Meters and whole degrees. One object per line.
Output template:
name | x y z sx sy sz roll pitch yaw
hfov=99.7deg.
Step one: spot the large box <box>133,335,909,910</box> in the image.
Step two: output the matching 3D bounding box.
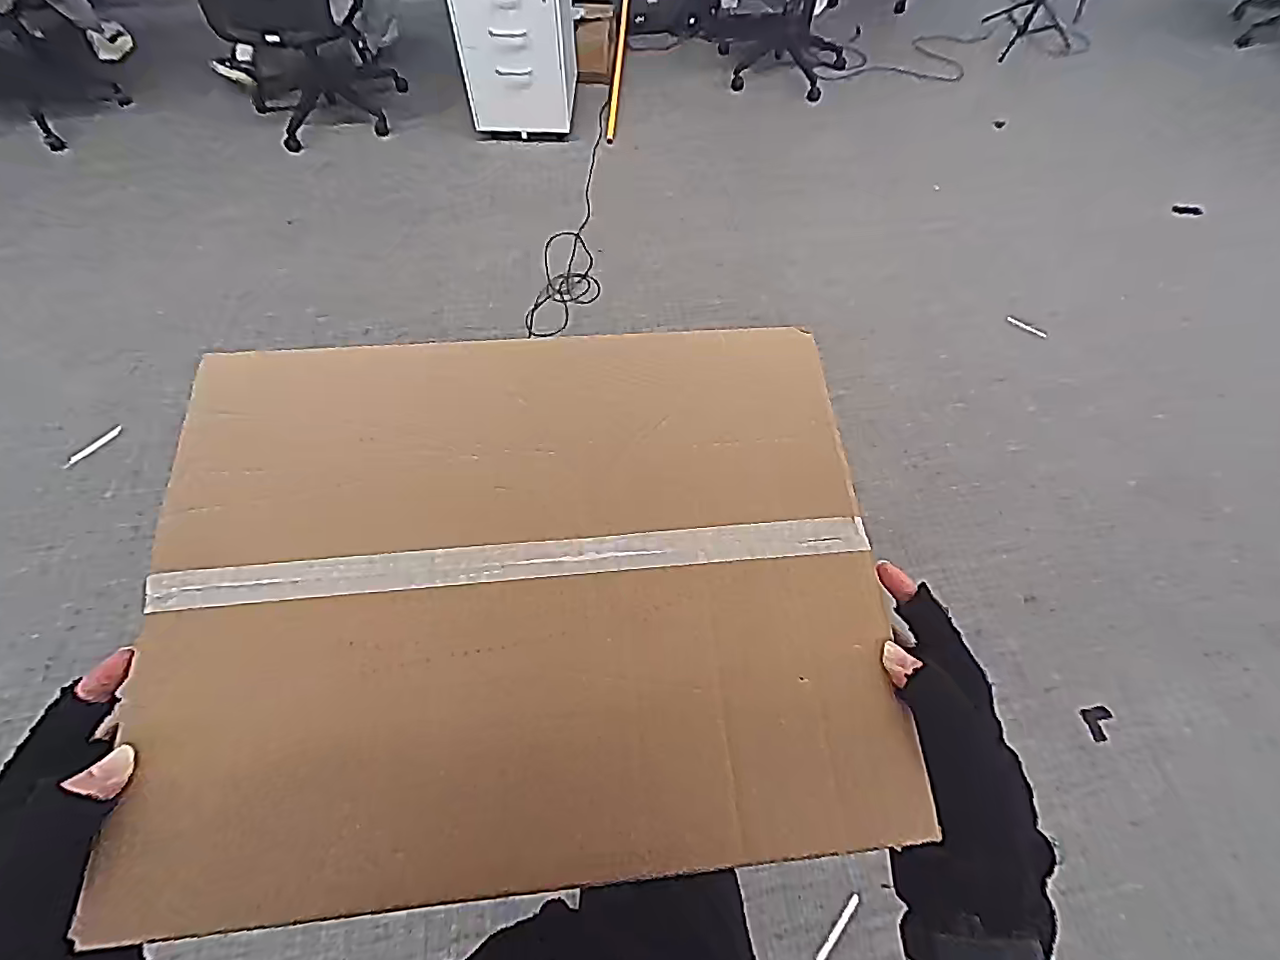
large box | -0.073 0.105 0.468 0.408 0.320 0.320 -4 69 -5
